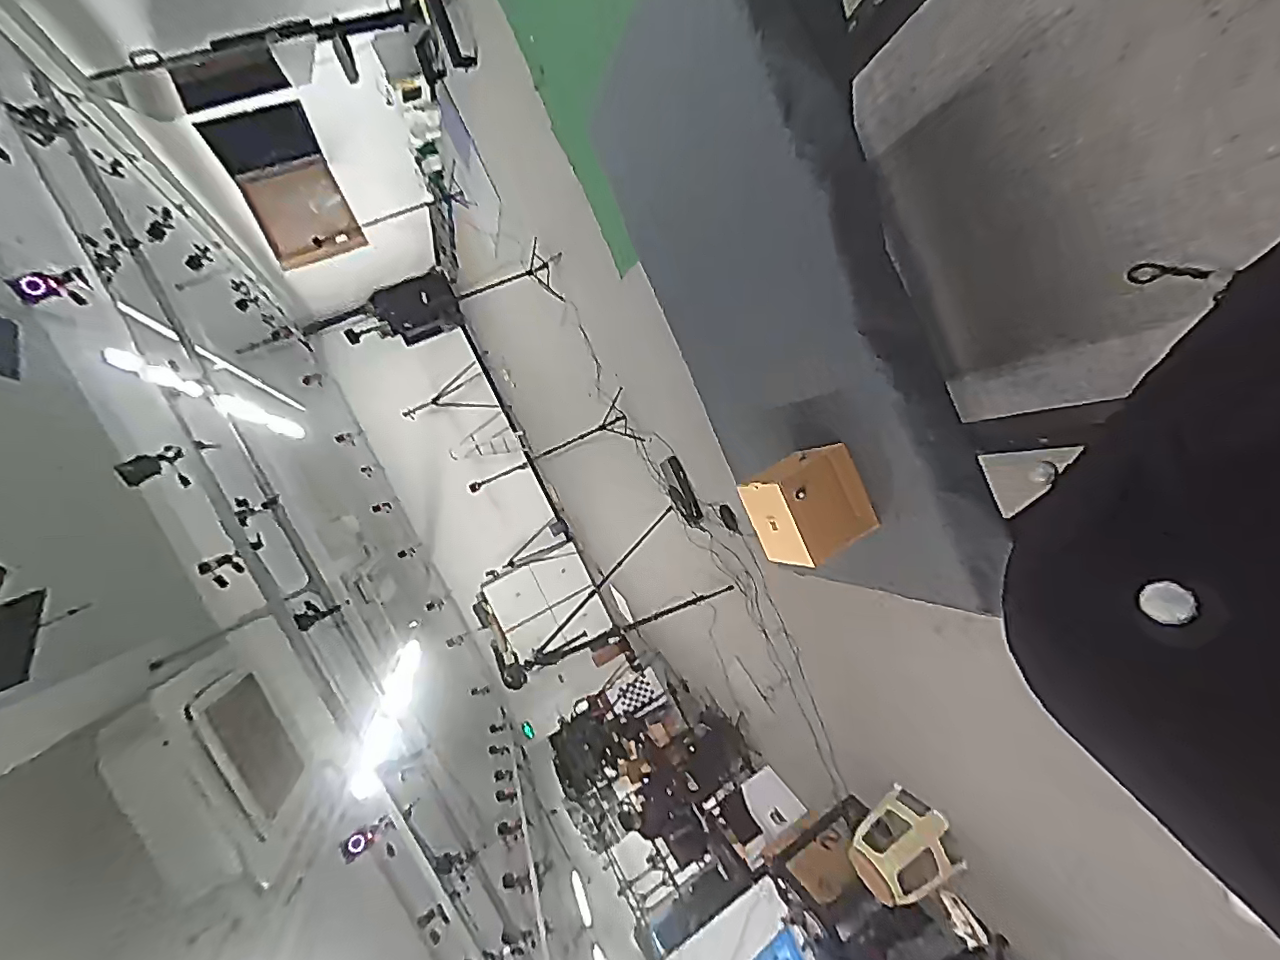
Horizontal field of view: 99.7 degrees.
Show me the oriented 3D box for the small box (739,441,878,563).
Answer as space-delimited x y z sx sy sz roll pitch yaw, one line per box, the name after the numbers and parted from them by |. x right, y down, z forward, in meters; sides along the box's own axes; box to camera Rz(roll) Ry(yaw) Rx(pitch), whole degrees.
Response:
0.333 0.042 1.072 0.179 0.176 0.168 65 164 -5 | small box
